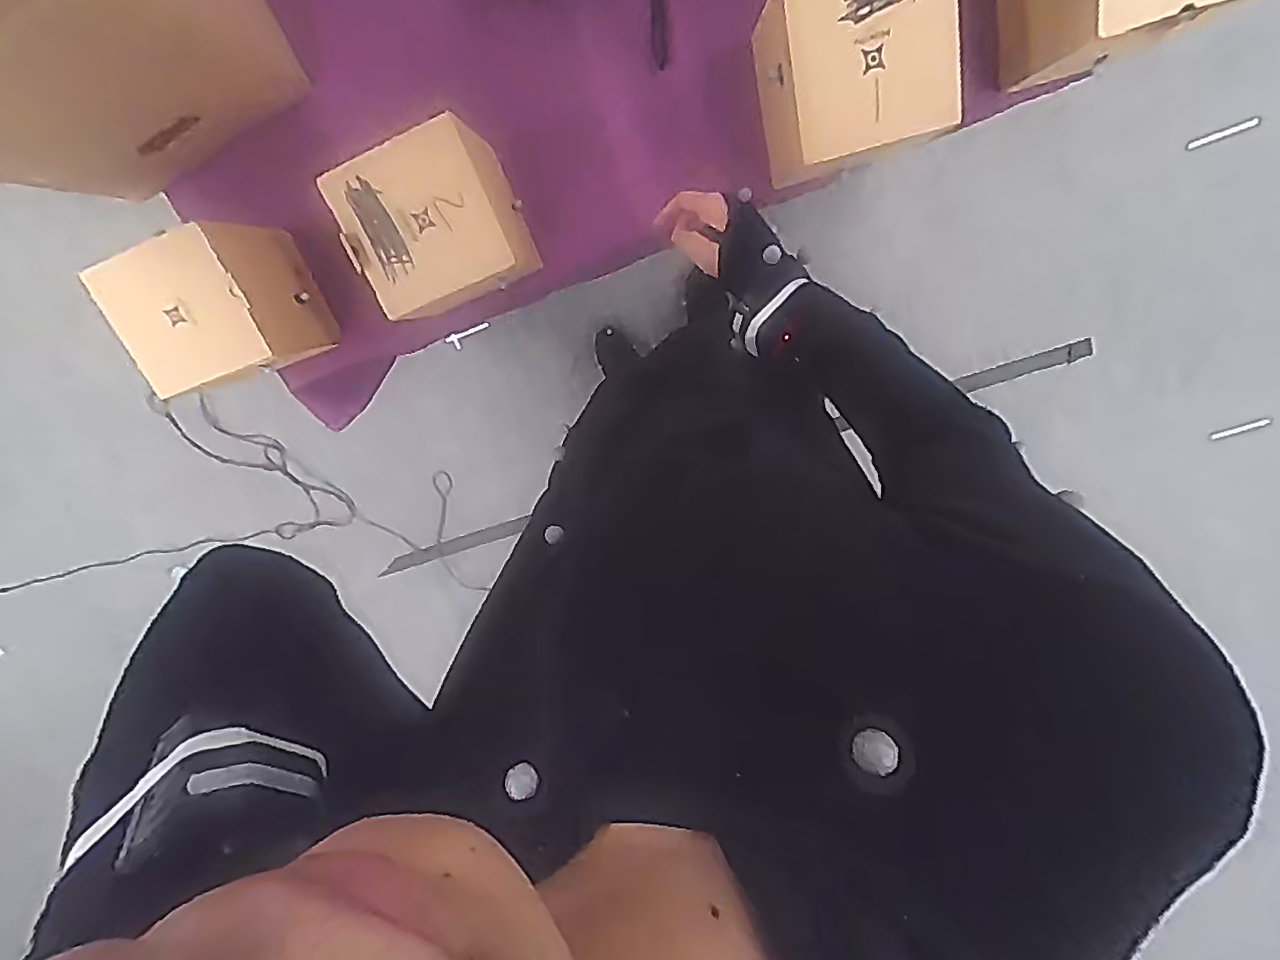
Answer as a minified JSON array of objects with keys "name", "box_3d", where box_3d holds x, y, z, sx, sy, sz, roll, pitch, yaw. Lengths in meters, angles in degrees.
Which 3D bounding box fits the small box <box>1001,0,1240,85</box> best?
[{"name":"small box","box_3d":[0.507,-0.559,0.564,0.168,0.176,0.179,-12,109,8]}]

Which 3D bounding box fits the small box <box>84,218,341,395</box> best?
[{"name":"small box","box_3d":[-0.557,-0.232,0.734,0.179,0.176,0.168,-18,109,8]}]
